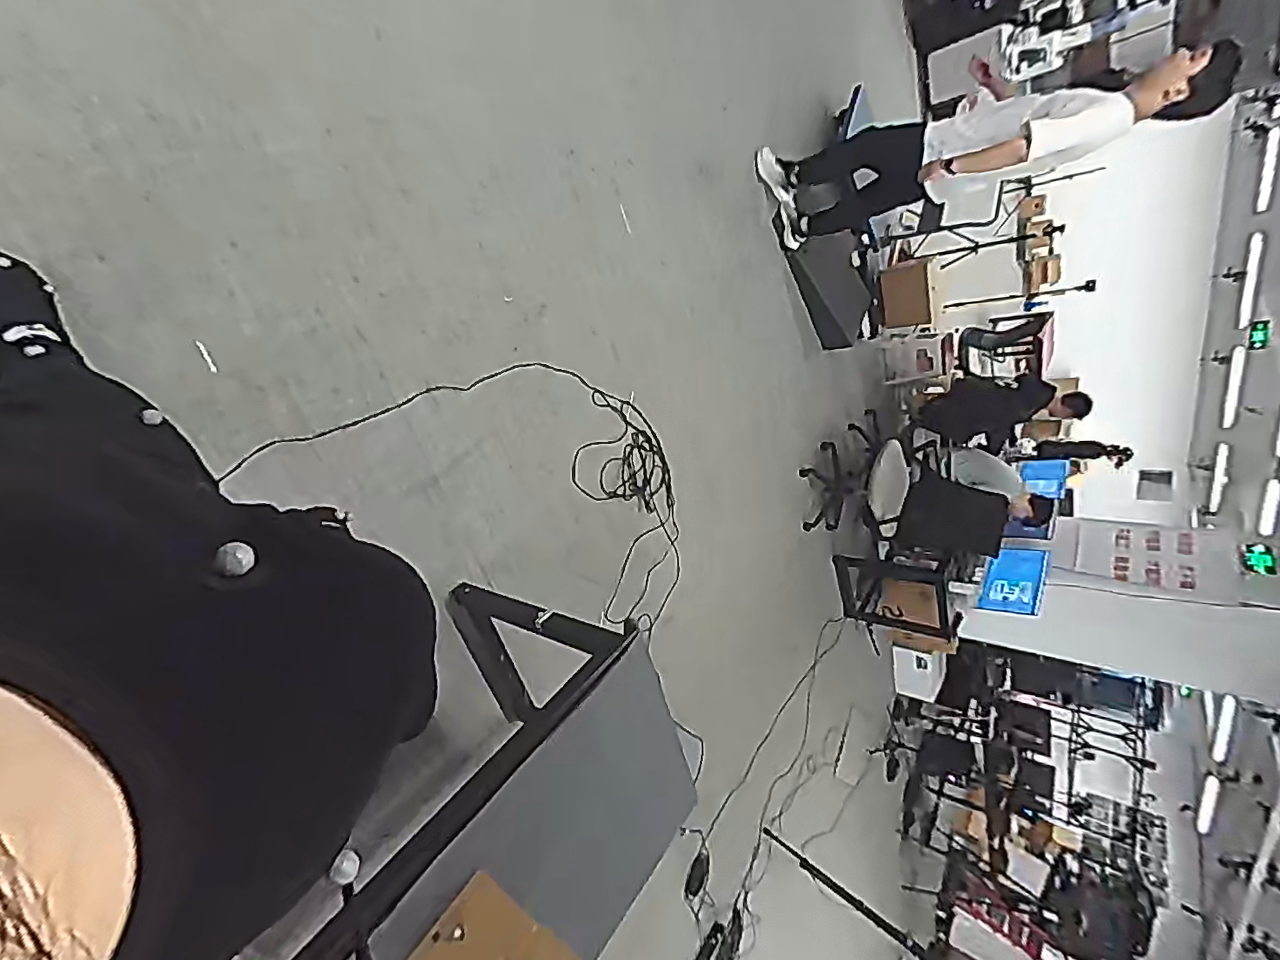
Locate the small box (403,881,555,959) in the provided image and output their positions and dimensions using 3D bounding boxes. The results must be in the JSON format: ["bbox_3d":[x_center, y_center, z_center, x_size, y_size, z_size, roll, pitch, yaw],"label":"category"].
[{"bbox_3d":[-0.251,0.802,0.871,0.168,0.176,0.179,-42,124,-40],"label":"small box"}]
